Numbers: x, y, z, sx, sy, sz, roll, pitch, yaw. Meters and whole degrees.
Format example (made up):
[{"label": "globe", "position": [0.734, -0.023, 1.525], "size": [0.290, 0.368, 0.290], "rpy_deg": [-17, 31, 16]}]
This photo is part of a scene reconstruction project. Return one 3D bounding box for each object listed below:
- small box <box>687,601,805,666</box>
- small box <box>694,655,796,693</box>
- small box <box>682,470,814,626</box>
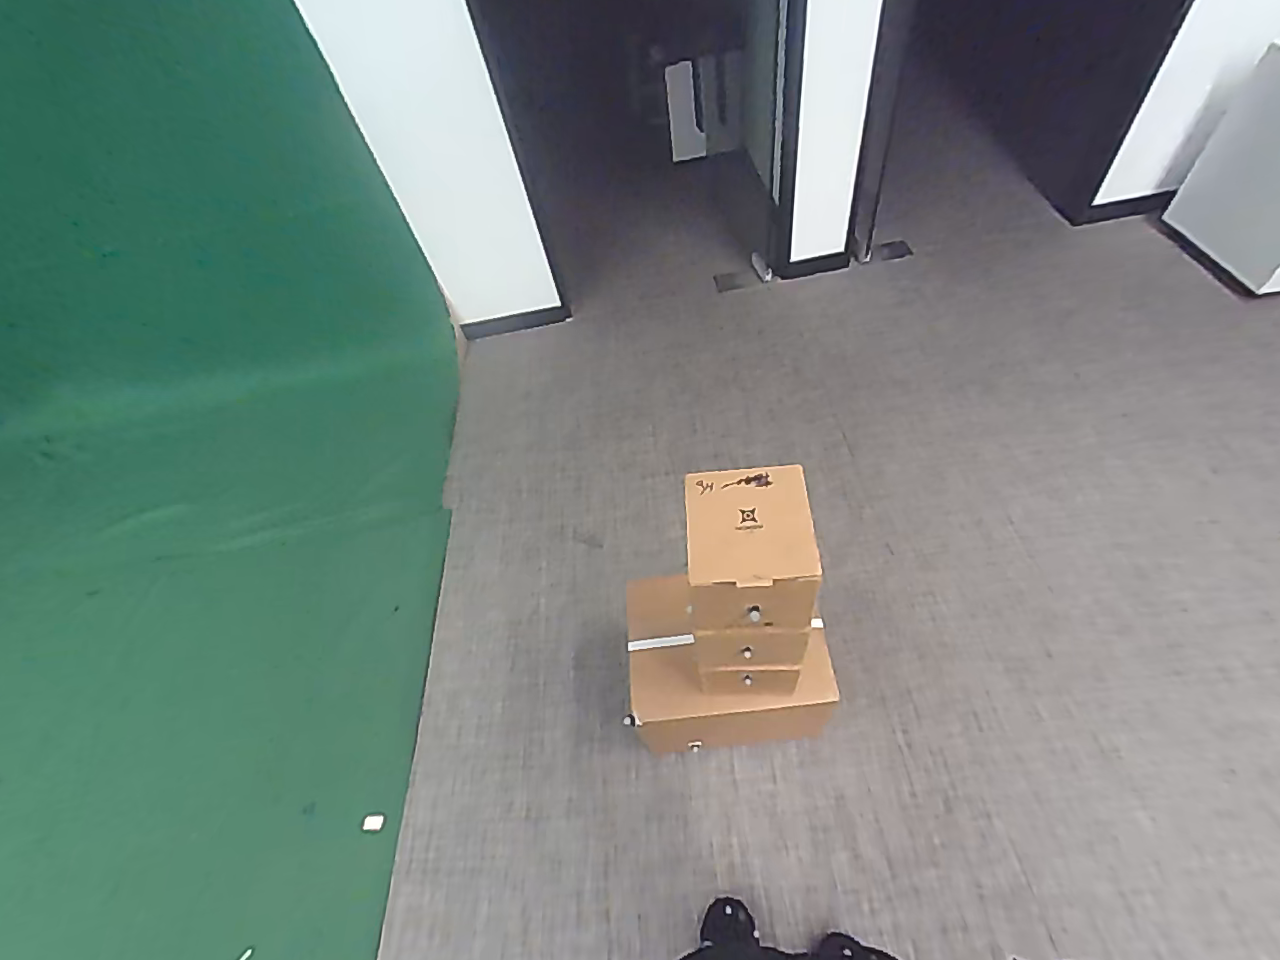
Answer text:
[{"label": "small box", "position": [0.173, 0.208, 0.912], "size": [0.179, 0.176, 0.168], "rpy_deg": [-5, 55, 10]}, {"label": "small box", "position": [0.196, 0.306, 1.041], "size": [0.179, 0.176, 0.168], "rpy_deg": [-3, 55, 7]}, {"label": "small box", "position": [0.151, 0.107, 0.785], "size": [0.168, 0.176, 0.179], "rpy_deg": [-4, 55, 8]}]
